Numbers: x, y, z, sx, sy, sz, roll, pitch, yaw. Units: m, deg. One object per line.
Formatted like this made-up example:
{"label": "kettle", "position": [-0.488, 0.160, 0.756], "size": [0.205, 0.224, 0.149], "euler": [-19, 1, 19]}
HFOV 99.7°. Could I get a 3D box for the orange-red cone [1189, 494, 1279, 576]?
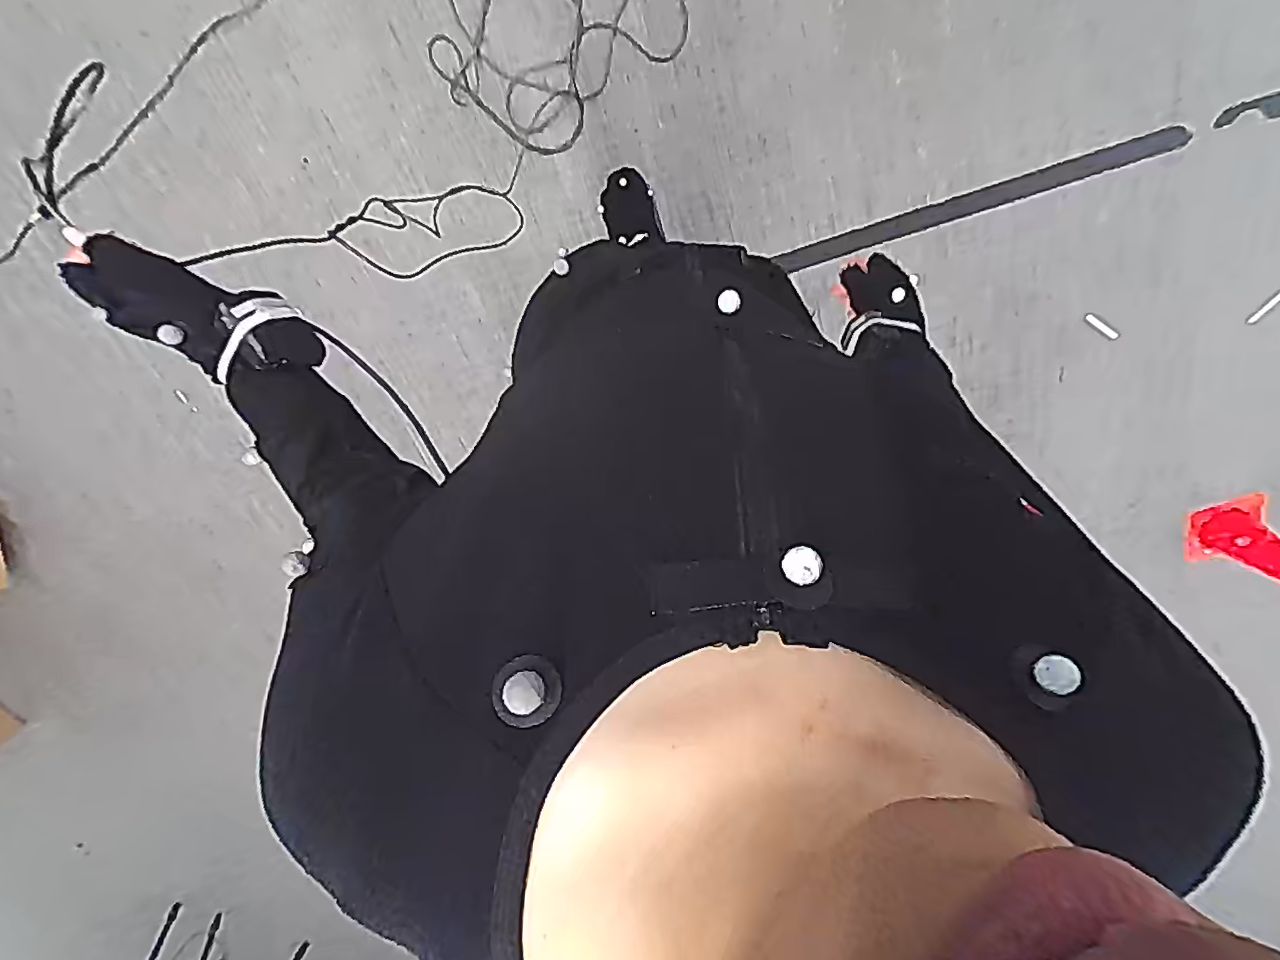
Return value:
{"label": "orange-red cone", "position": [1.762, 0.223, 1.467], "size": [0.199, 0.360, 0.198], "euler": [-20, 117, 11]}
